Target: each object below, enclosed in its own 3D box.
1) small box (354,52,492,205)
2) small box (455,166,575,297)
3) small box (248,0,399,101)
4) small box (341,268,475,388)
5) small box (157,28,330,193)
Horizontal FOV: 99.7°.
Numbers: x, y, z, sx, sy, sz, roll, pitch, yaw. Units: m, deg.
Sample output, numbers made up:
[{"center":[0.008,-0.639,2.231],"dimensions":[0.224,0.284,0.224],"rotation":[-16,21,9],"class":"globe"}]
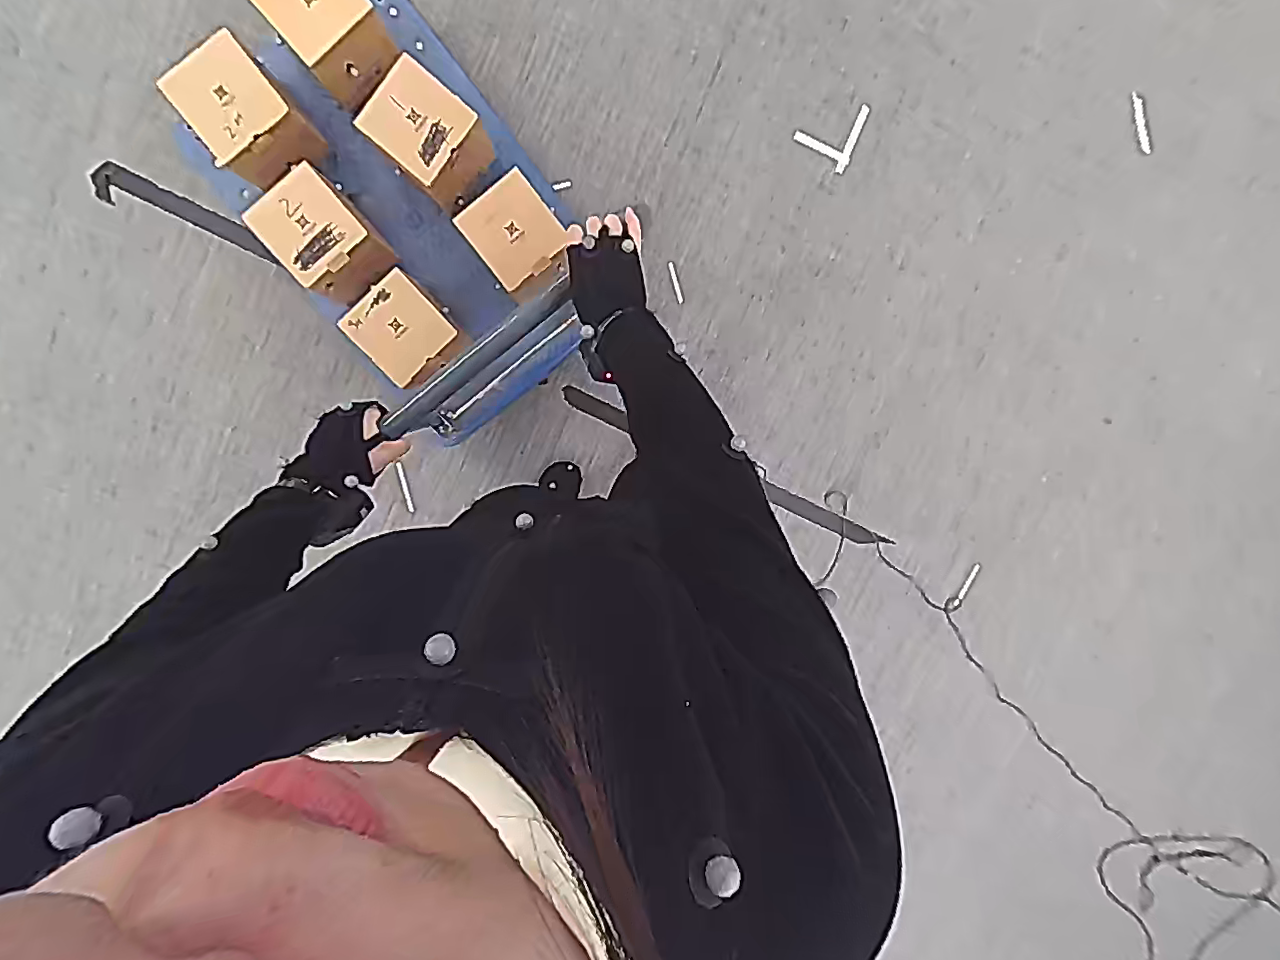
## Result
[{"center":[-0.426,-0.694,1.099],"dimensions":[0.179,0.176,0.168],"rotation":[38,94,-8],"class":"small box"},{"center":[-0.252,-0.508,1.141],"dimensions":[0.168,0.176,0.179],"rotation":[-39,99,1],"class":"small box"},{"center":[-0.611,-0.889,1.056],"dimensions":[0.168,0.176,0.179],"rotation":[-43,99,3],"class":"small box"},{"center":[-0.478,-0.313,1.150],"dimensions":[0.168,0.176,0.179],"rotation":[-43,100,1],"class":"small box"},{"center":[-0.767,-0.712,1.068],"dimensions":[0.168,0.176,0.179],"rotation":[-38,100,2],"class":"small box"}]
